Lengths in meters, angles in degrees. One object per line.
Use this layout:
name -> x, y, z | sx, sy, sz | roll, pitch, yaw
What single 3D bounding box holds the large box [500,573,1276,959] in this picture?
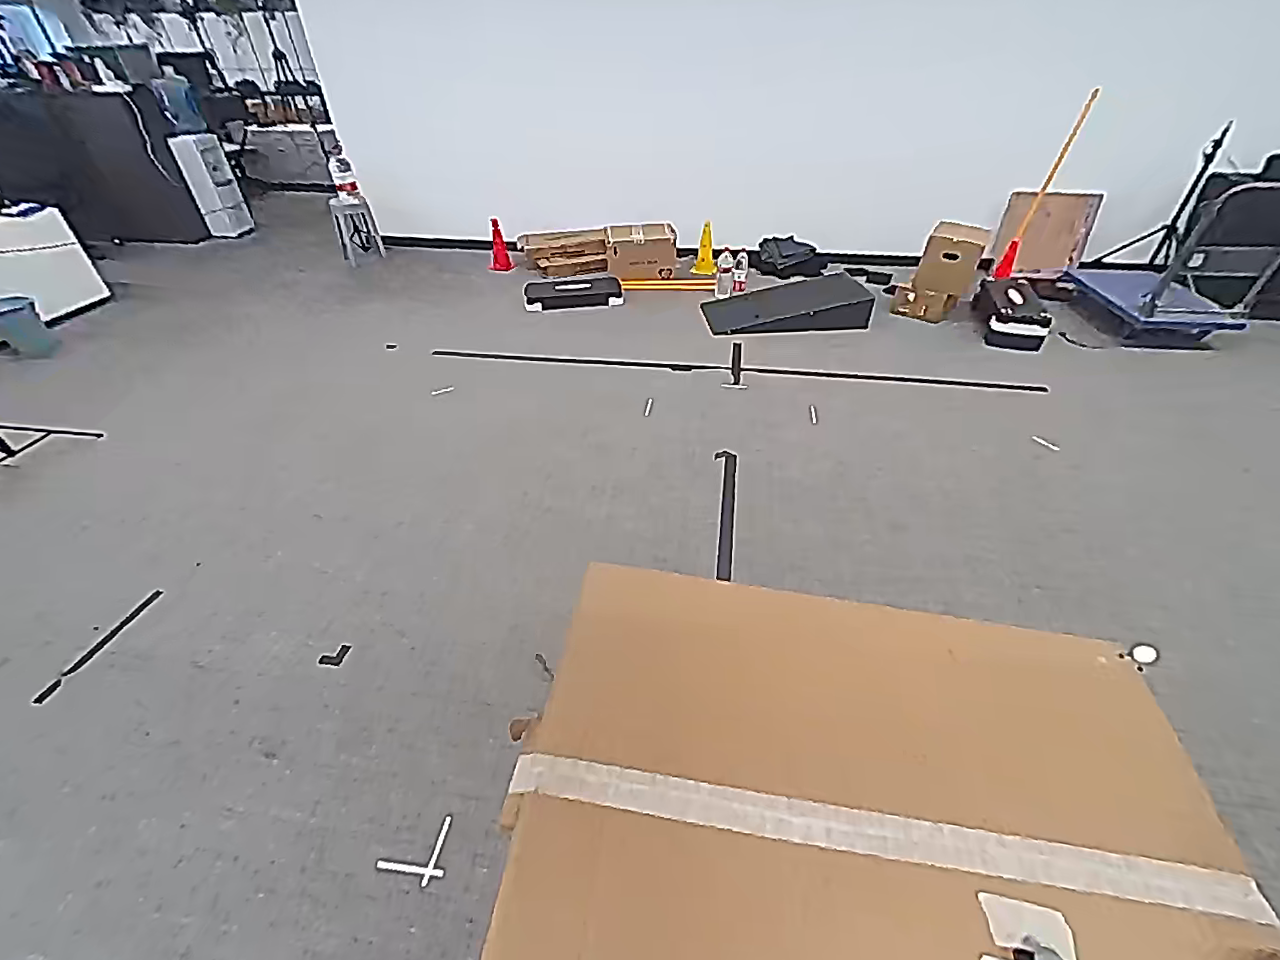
large box -> 0.126, 0.310, 0.416 | 0.408, 0.320, 0.320 | 9, 45, 3
